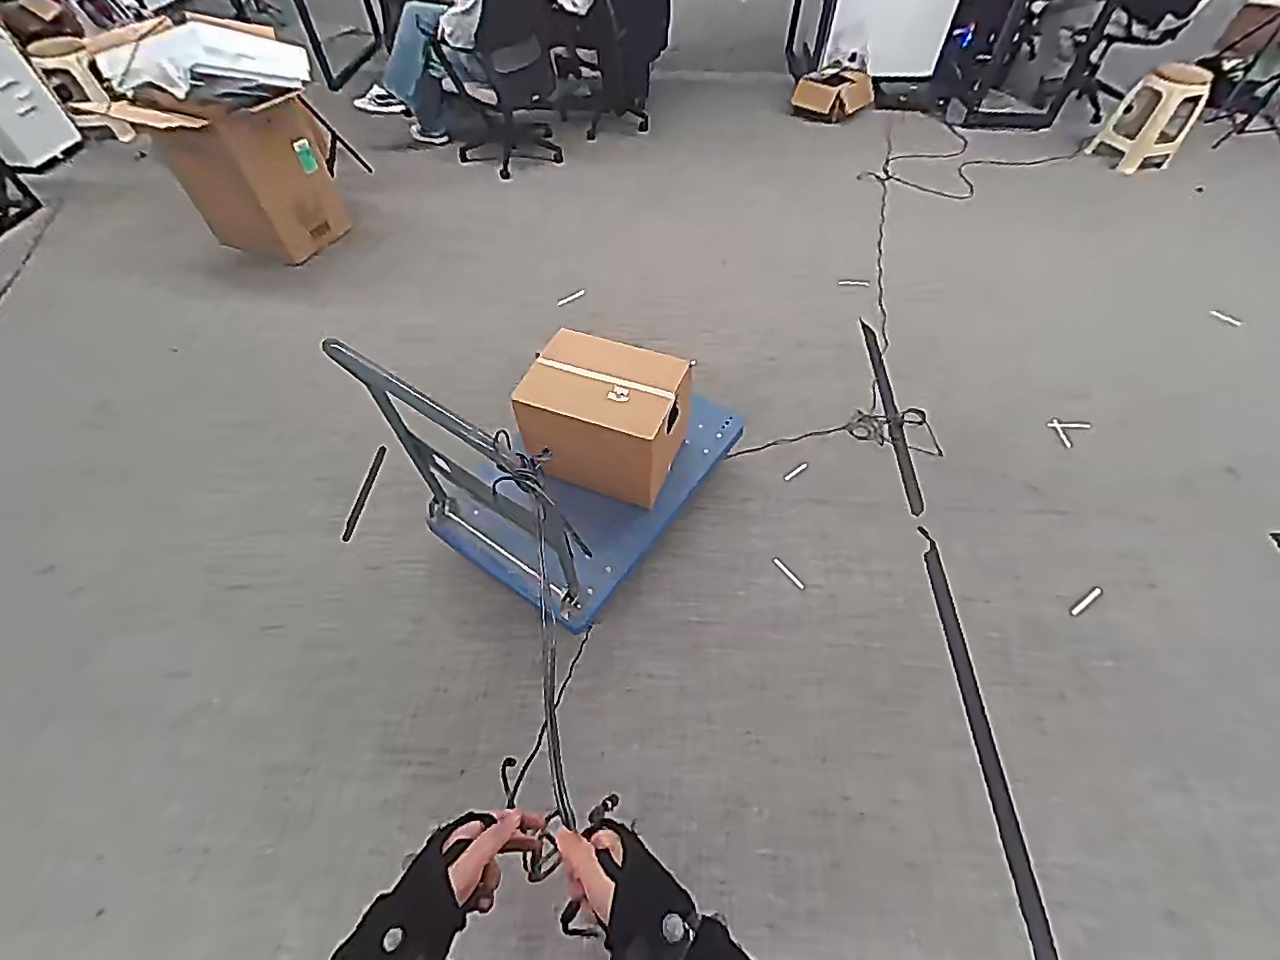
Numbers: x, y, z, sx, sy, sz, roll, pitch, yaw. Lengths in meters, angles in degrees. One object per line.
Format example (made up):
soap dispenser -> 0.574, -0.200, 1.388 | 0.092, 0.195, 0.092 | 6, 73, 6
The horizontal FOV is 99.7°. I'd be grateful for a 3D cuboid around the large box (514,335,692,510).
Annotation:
large box -> -0.097, -0.165, 1.567 | 0.408, 0.320, 0.320 | 18, 56, 12
